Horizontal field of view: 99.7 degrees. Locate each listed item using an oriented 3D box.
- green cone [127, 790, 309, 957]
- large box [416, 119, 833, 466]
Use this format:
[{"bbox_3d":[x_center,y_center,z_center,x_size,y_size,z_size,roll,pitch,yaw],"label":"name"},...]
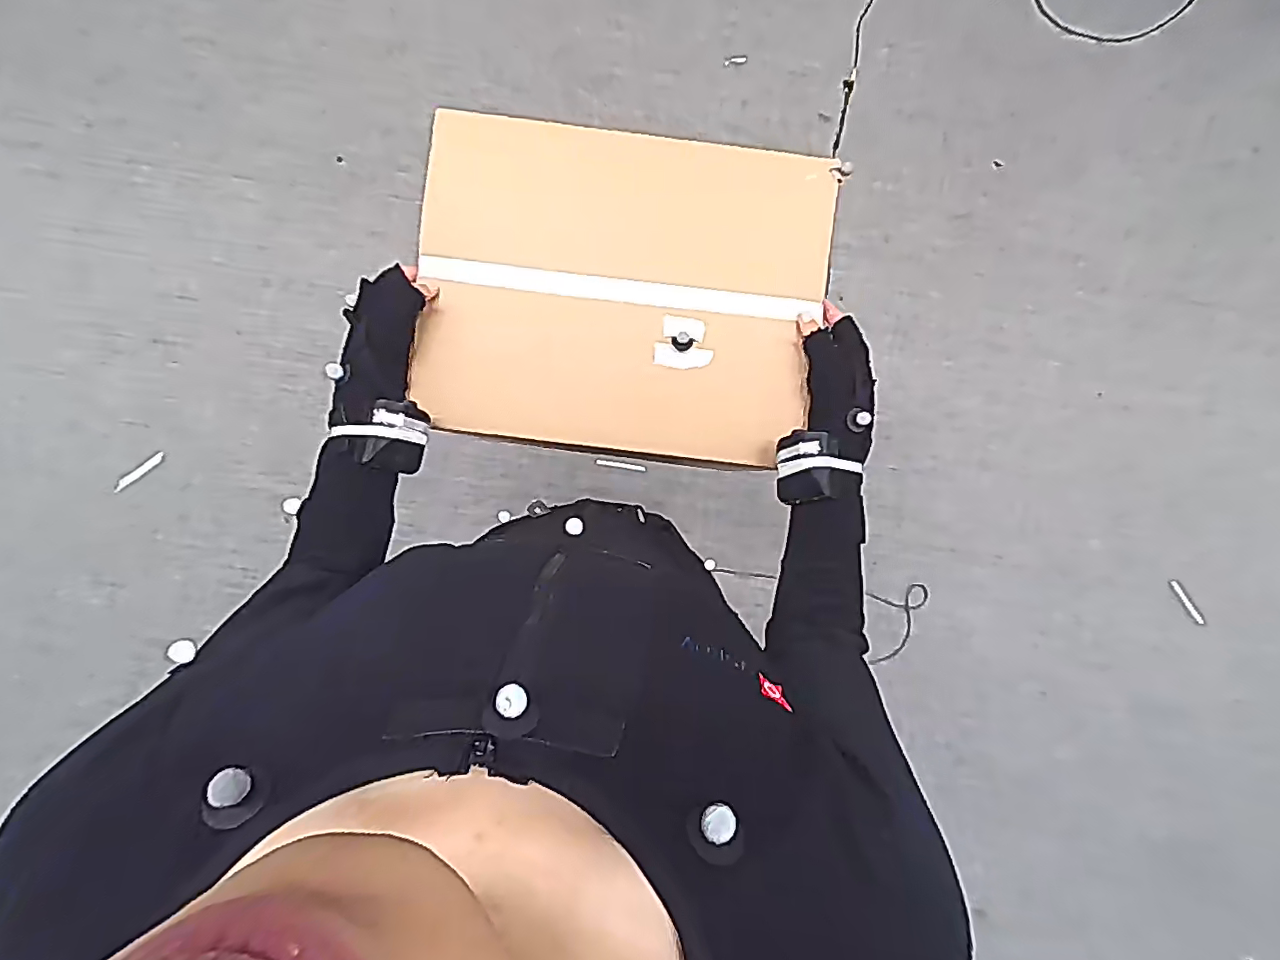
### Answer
[{"bbox_3d":[-1.001,0.938,1.259,0.202,0.368,0.200,-30,87,0],"label":"green cone"},{"bbox_3d":[-0.020,-0.193,0.695,0.408,0.320,0.320,7,91,-1],"label":"large box"}]
